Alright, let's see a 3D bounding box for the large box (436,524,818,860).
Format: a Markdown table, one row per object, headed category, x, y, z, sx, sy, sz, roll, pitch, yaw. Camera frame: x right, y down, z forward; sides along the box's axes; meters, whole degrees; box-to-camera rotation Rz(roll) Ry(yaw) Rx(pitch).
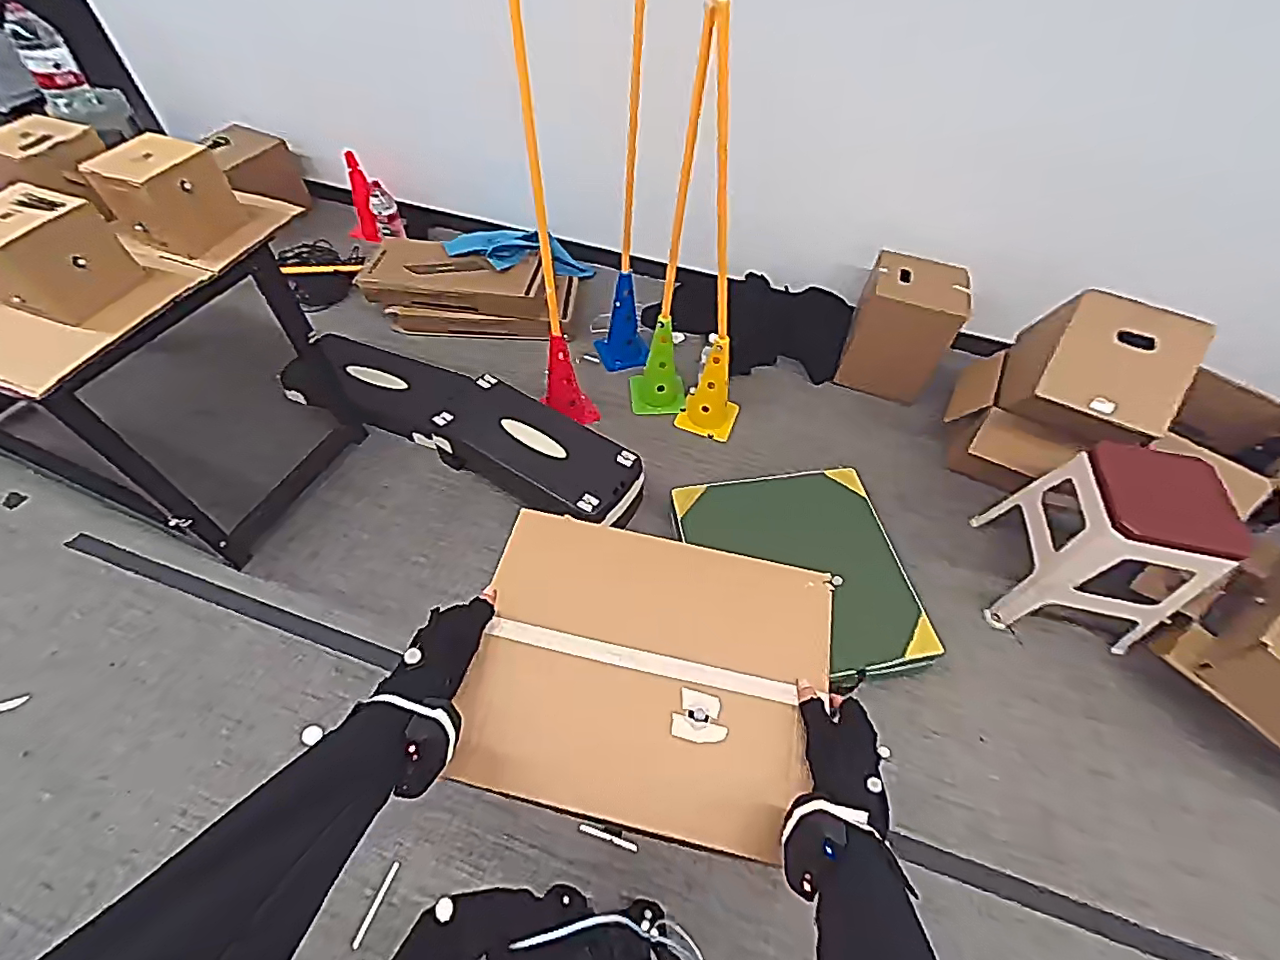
| category | x | y | z | sx | sy | sz | roll | pitch | yaw |
| --- | --- | --- | --- | --- | --- | --- | --- | --- | --- |
| large box | -0.002 | 0.298 | 0.753 | 0.408 | 0.320 | 0.320 | 12 | 58 | 4 |
